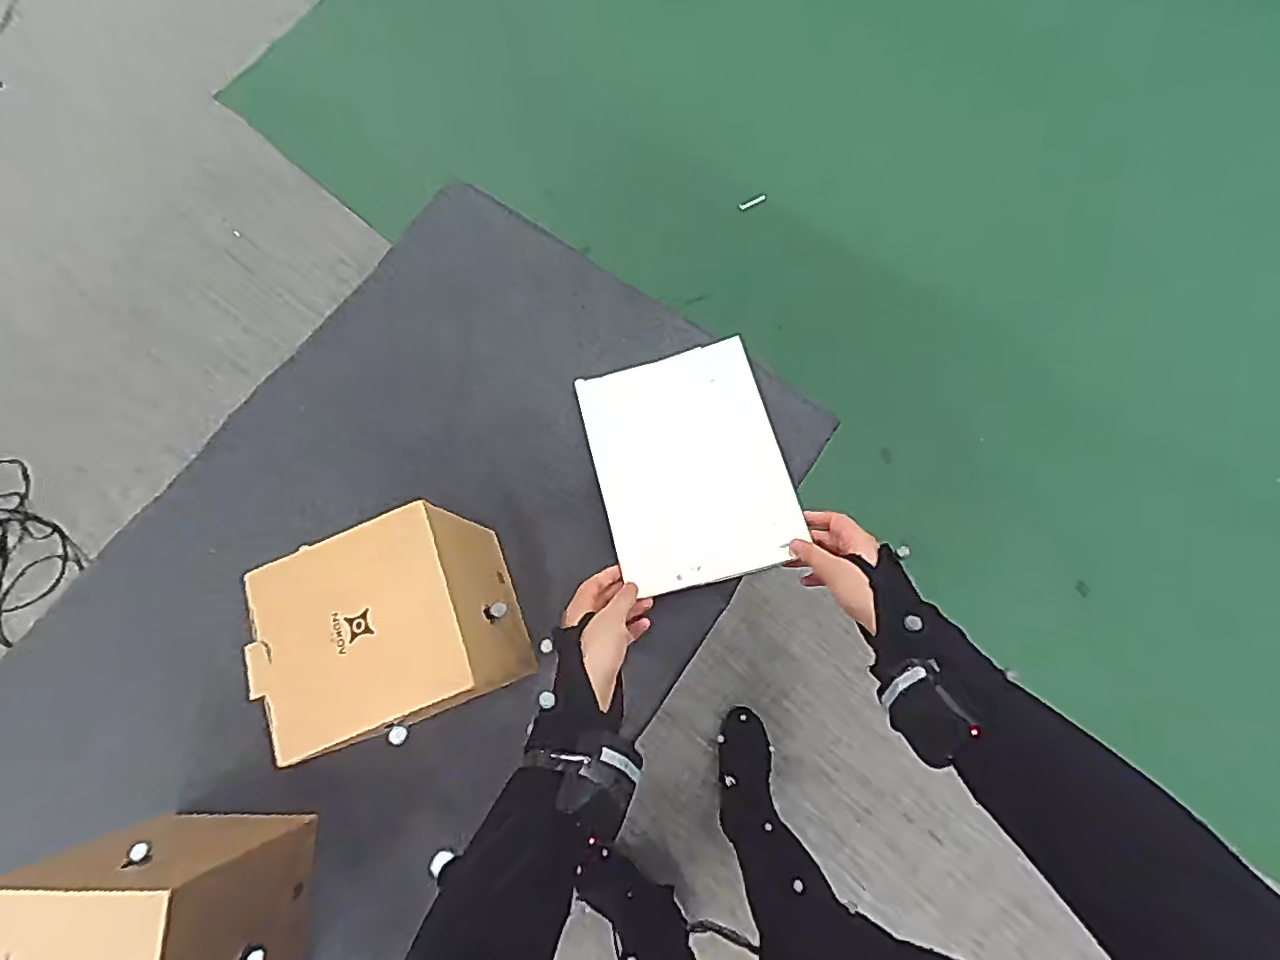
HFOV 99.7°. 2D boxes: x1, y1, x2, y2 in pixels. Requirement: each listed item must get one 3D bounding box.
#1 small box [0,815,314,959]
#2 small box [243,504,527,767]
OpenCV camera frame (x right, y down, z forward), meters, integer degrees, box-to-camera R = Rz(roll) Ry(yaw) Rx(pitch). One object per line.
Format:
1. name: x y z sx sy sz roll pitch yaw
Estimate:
1. small box: -0.428 0.416 0.479 0.179 0.176 0.168 -4 75 6
2. small box: -0.225 0.141 0.522 0.179 0.176 0.168 -23 74 2
